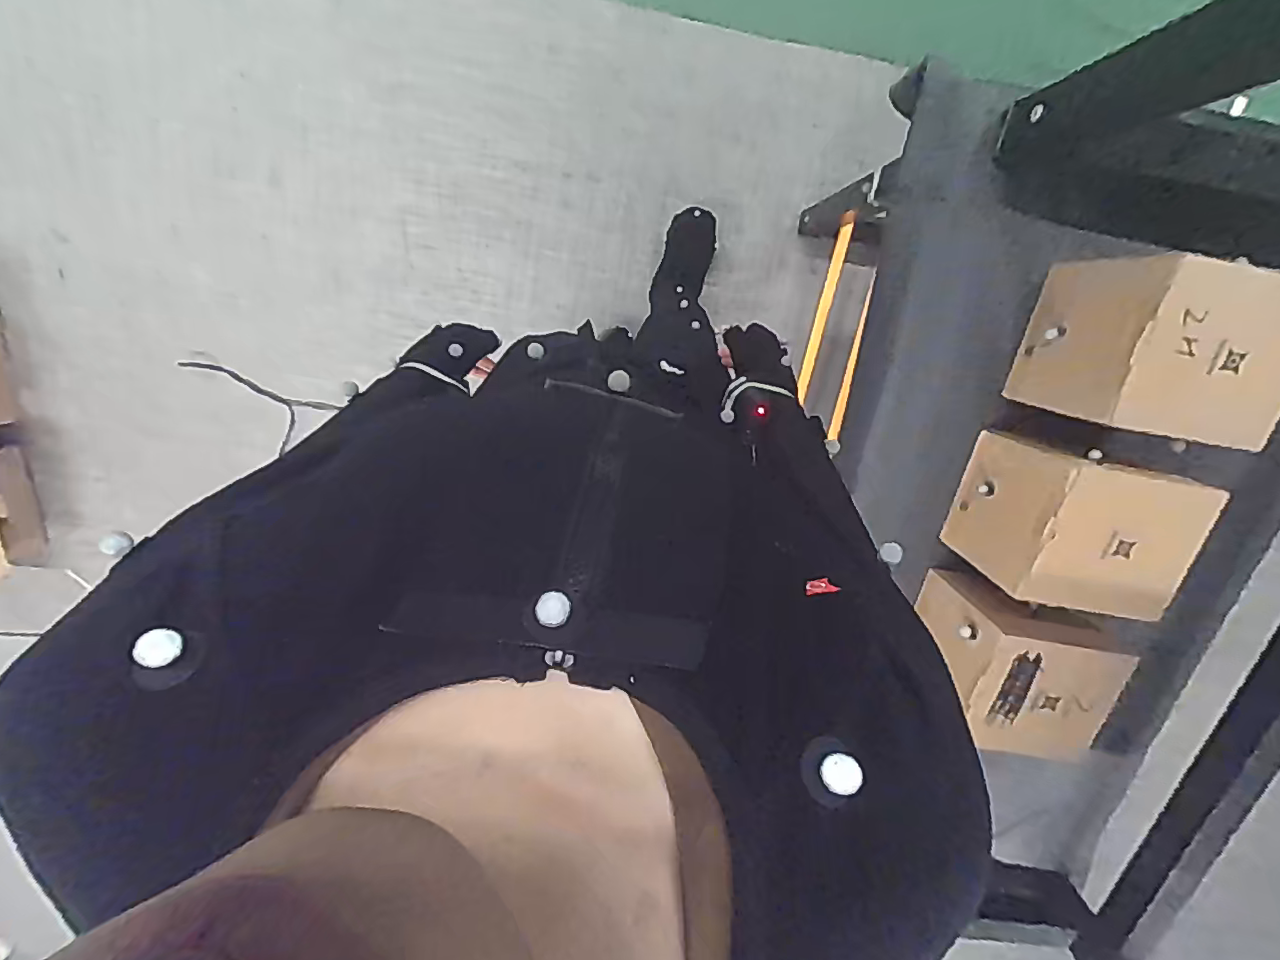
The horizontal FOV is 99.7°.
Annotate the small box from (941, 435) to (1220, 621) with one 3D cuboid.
[{"bbox_3d":[0.524,0.050,0.676,0.179,0.176,0.168,10,108,-3],"label":"small box"}]

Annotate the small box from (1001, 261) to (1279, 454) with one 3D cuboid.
[{"bbox_3d":[0.566,-0.142,0.610,0.179,0.176,0.168,9,108,-4],"label":"small box"}]
